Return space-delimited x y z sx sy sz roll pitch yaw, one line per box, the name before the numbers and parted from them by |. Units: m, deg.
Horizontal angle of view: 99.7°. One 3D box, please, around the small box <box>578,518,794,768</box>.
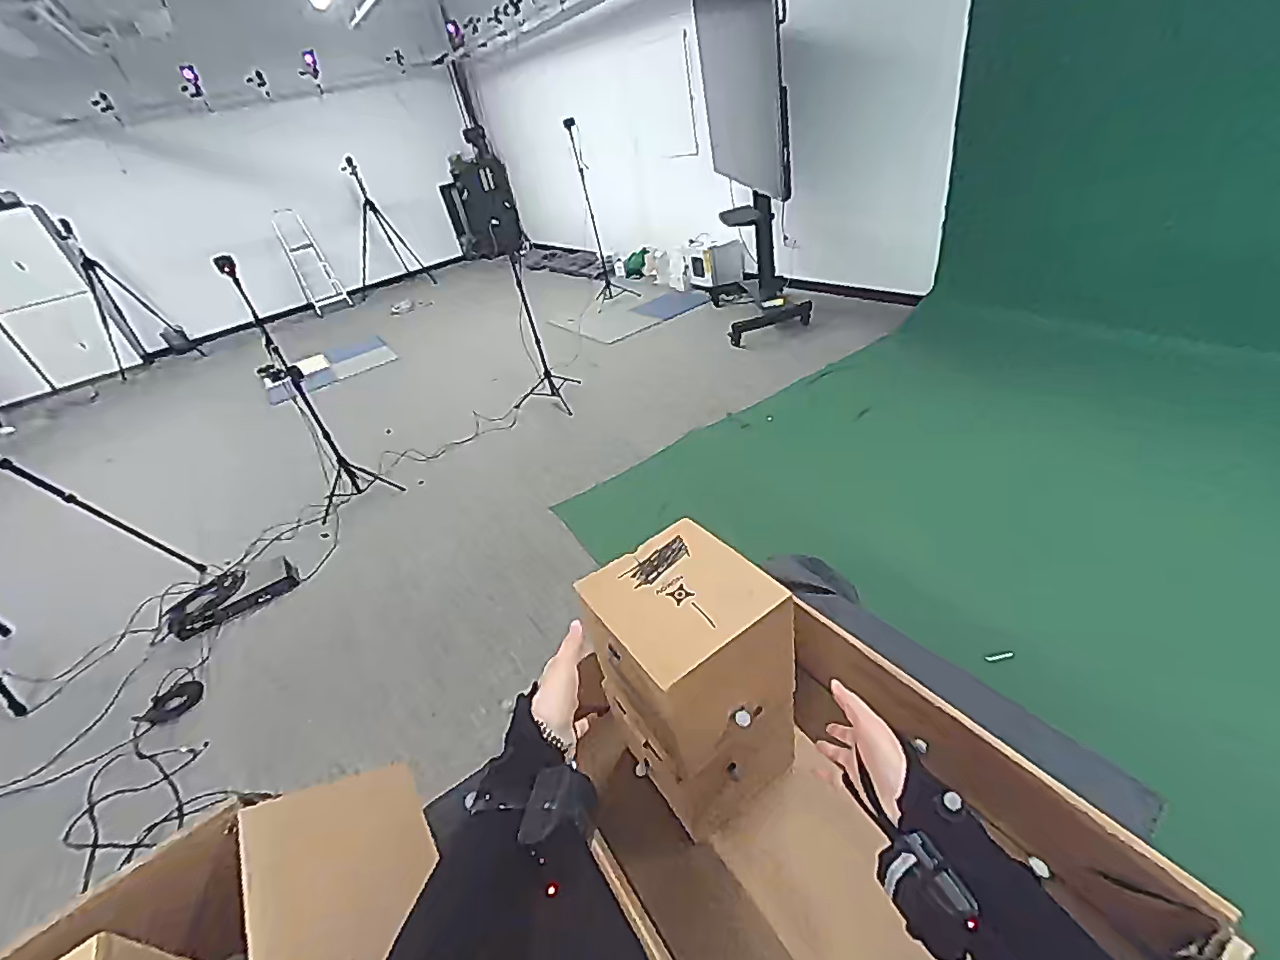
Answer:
small box | 0.054 0.180 0.617 0.168 0.176 0.179 -29 39 -22
